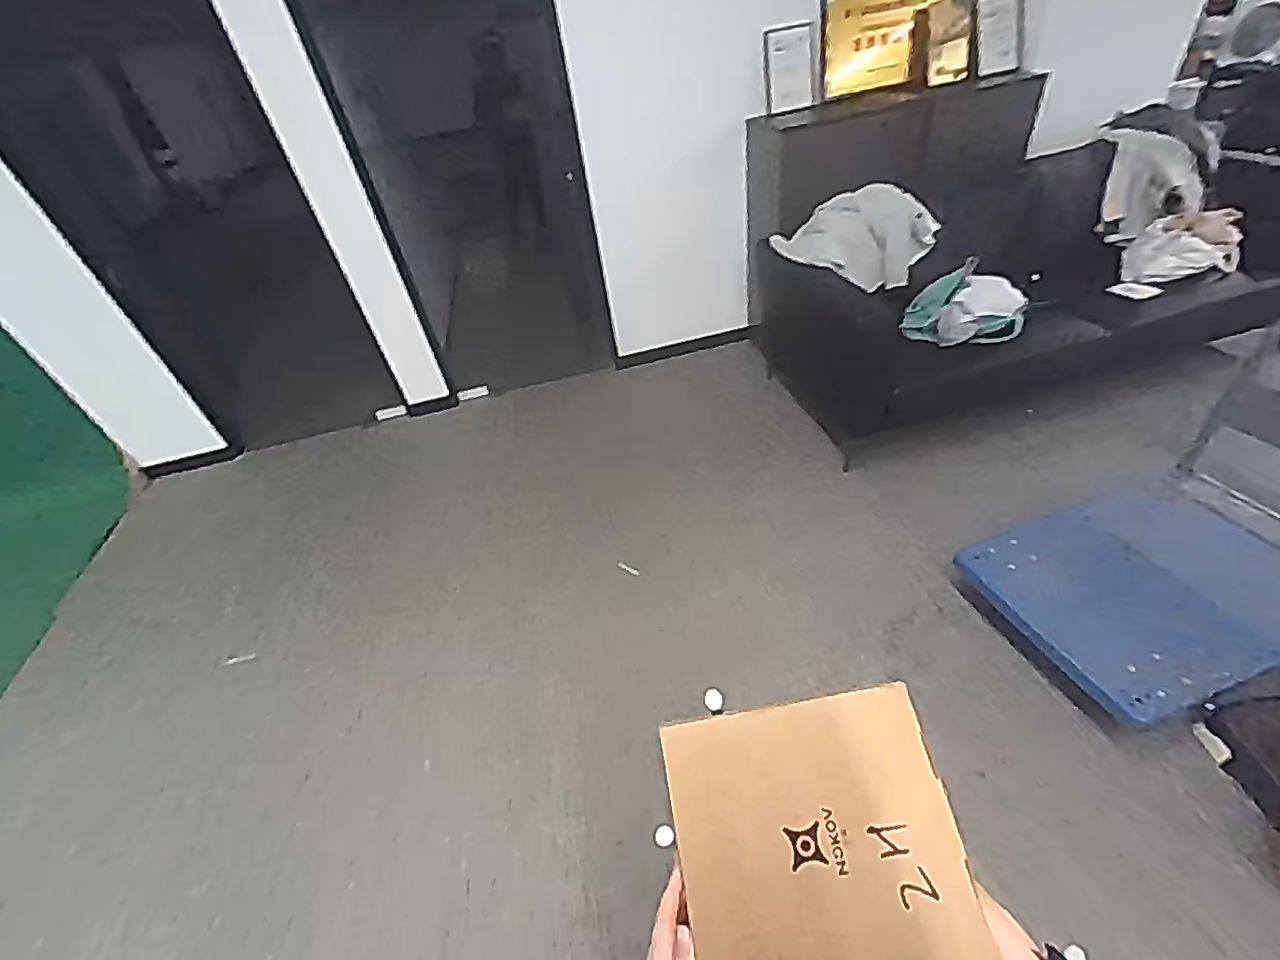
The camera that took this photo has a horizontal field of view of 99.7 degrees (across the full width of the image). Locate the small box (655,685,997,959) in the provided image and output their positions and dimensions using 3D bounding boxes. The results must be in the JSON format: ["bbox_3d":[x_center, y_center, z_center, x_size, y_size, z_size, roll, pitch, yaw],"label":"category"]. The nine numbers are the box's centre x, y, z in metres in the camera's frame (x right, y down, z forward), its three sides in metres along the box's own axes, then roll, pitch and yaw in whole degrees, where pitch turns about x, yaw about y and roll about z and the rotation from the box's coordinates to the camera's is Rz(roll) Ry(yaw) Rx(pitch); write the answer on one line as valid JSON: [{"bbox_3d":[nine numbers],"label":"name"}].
[{"bbox_3d":[0.110,0.258,0.407,0.179,0.176,0.168,-10,68,-3],"label":"small box"}]
